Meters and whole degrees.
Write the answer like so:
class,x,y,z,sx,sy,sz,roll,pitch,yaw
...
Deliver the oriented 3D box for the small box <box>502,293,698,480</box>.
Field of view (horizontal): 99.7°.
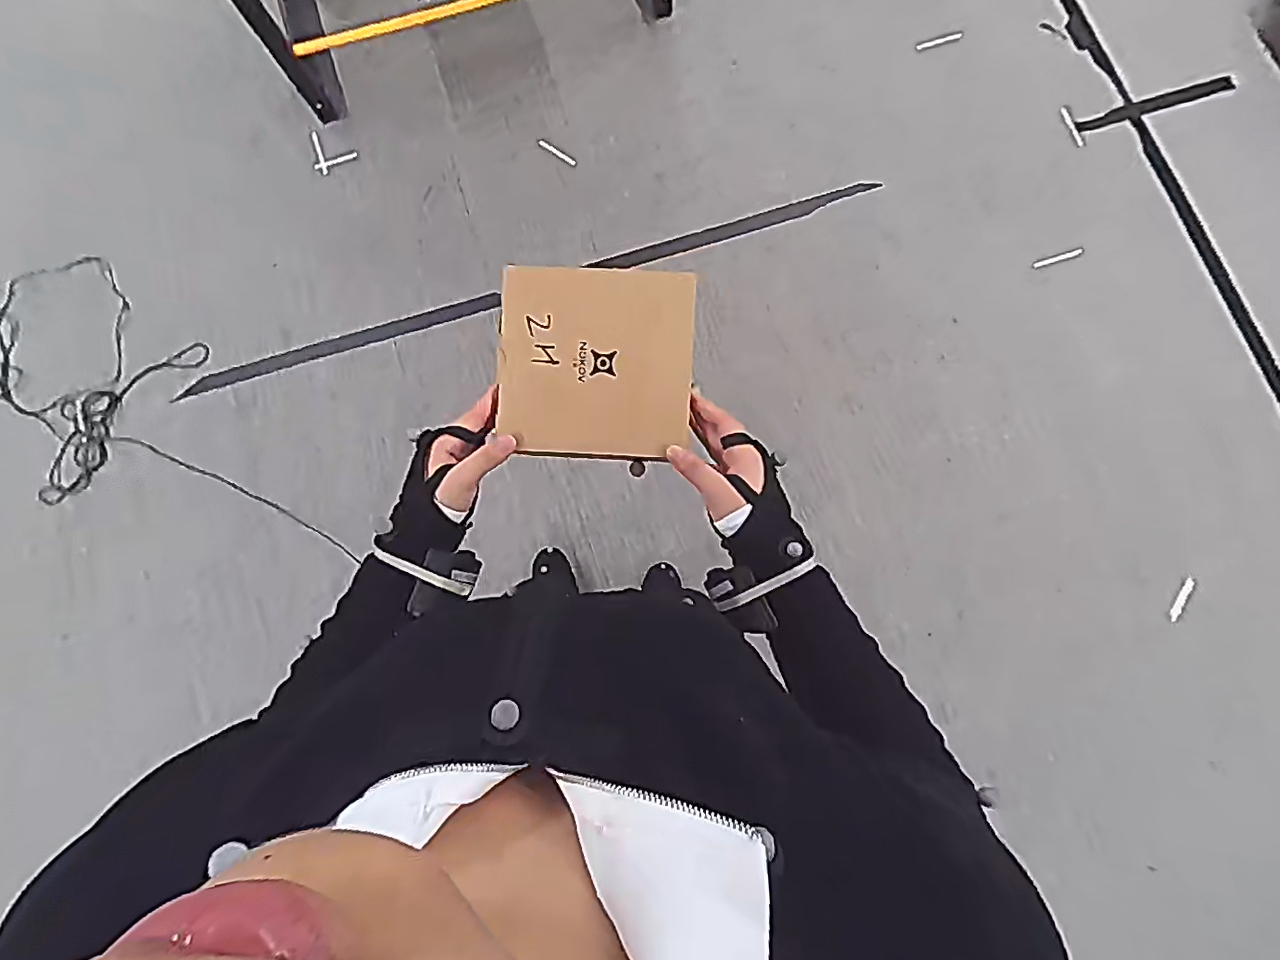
class,x,y,z,sx,sy,sz,roll,pitch,yaw
small box,-0.035,-0.089,0.577,0.179,0.176,0.168,3,91,3
